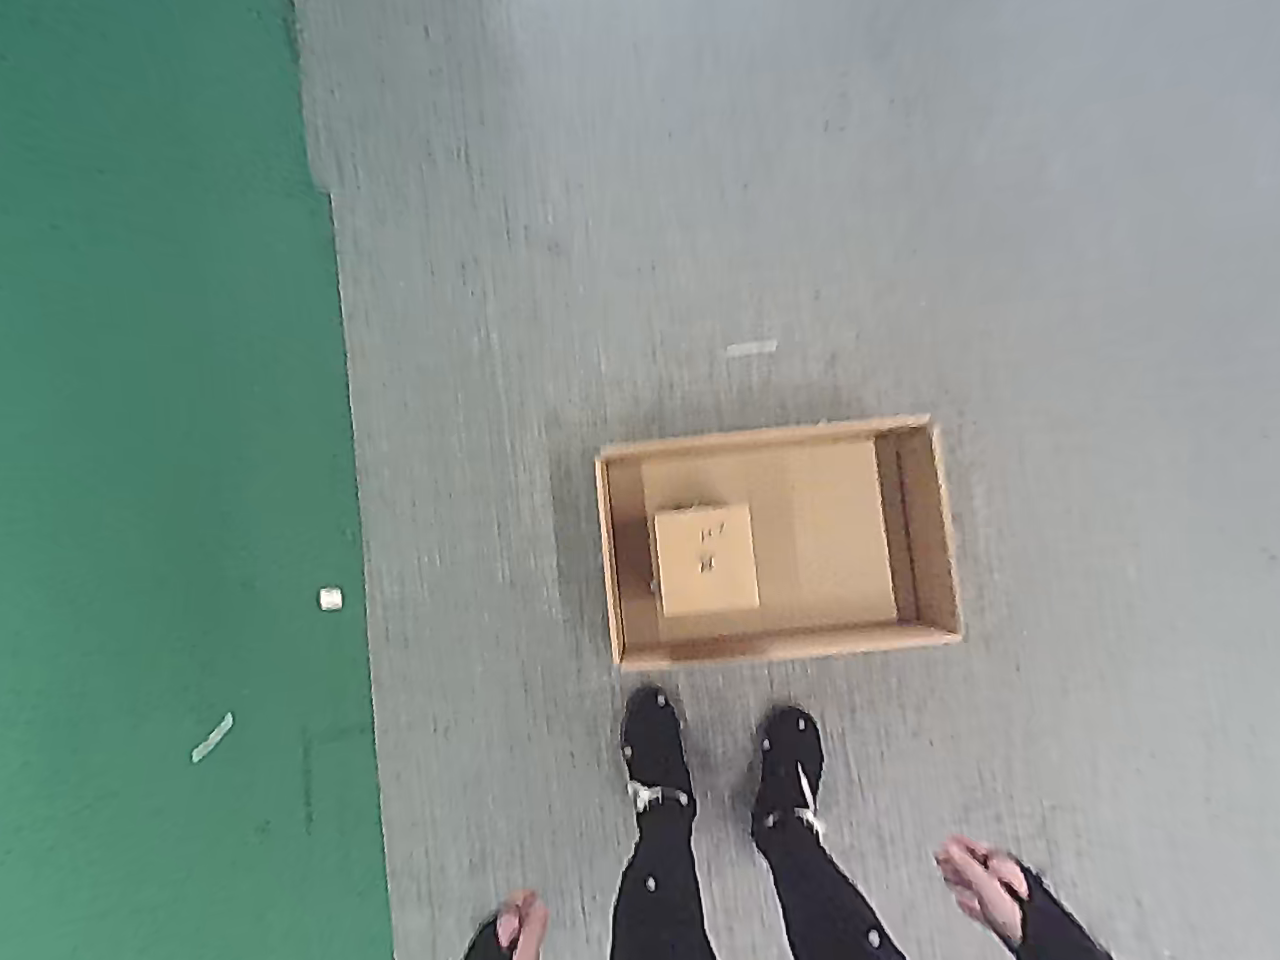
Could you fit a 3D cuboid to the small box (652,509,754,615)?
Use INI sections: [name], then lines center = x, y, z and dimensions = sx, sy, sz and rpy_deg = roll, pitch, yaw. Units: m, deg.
[small box]
center = 0.111, 0.147, 1.019
dimensions = 0.168, 0.176, 0.179
rpy_deg = -5, 86, -1
